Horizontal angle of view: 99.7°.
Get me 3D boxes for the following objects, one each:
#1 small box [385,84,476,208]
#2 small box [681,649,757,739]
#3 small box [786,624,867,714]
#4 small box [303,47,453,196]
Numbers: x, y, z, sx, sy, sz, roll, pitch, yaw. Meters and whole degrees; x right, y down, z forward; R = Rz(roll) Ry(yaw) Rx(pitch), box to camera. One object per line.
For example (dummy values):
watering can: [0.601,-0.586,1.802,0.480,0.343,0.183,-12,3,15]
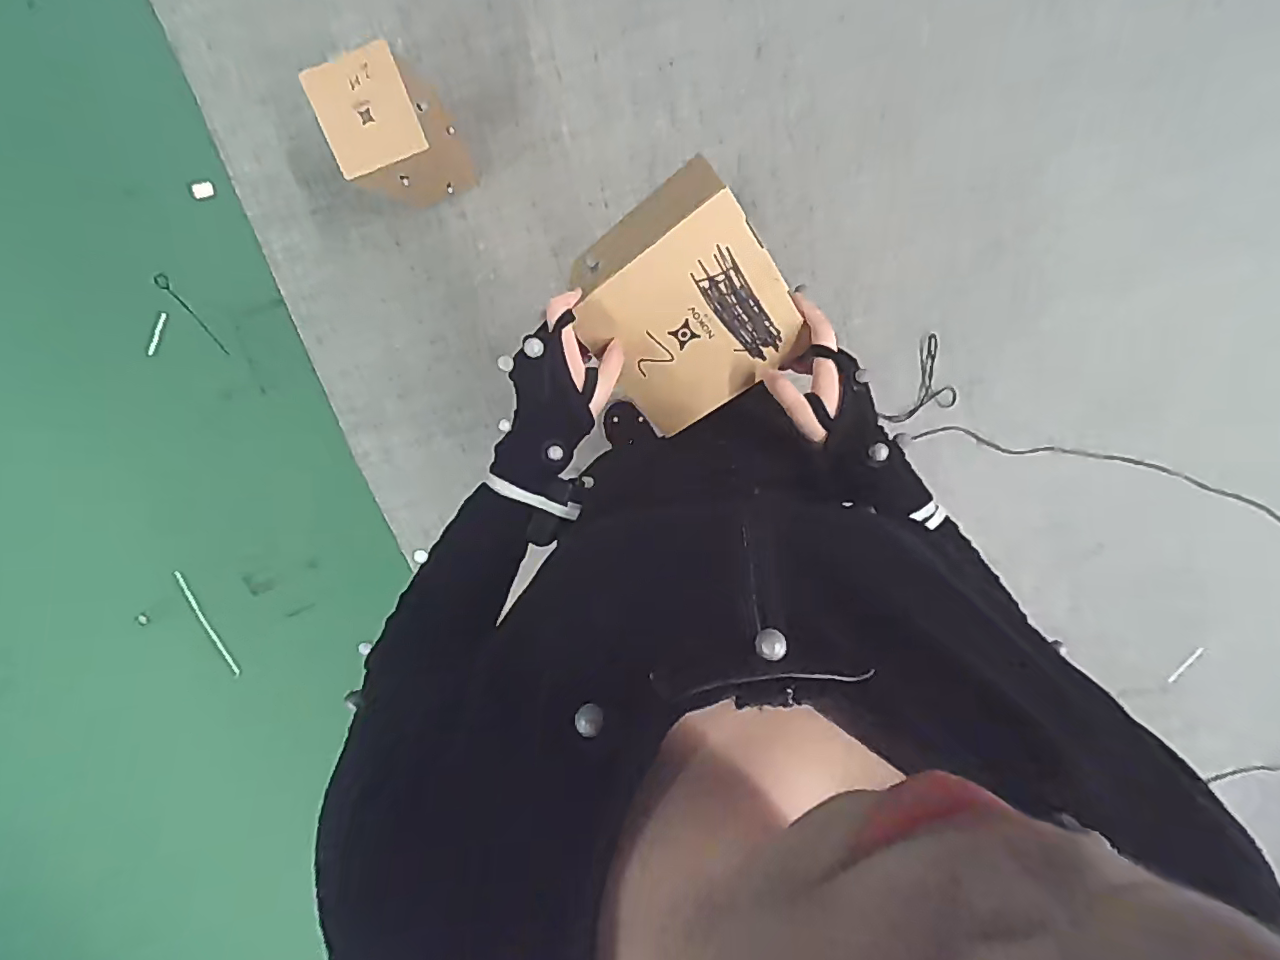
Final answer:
small box: [-0.481,-0.713,1.180,0.168,0.176,0.179,-16,107,4]
small box: [0.231,0.632,1.619,0.179,0.176,0.168,-17,107,5]
small box: [0.542,0.546,1.591,0.168,0.176,0.179,-15,106,3]
small box: [-0.480,-0.660,1.024,0.168,0.176,0.179,-18,107,4]
